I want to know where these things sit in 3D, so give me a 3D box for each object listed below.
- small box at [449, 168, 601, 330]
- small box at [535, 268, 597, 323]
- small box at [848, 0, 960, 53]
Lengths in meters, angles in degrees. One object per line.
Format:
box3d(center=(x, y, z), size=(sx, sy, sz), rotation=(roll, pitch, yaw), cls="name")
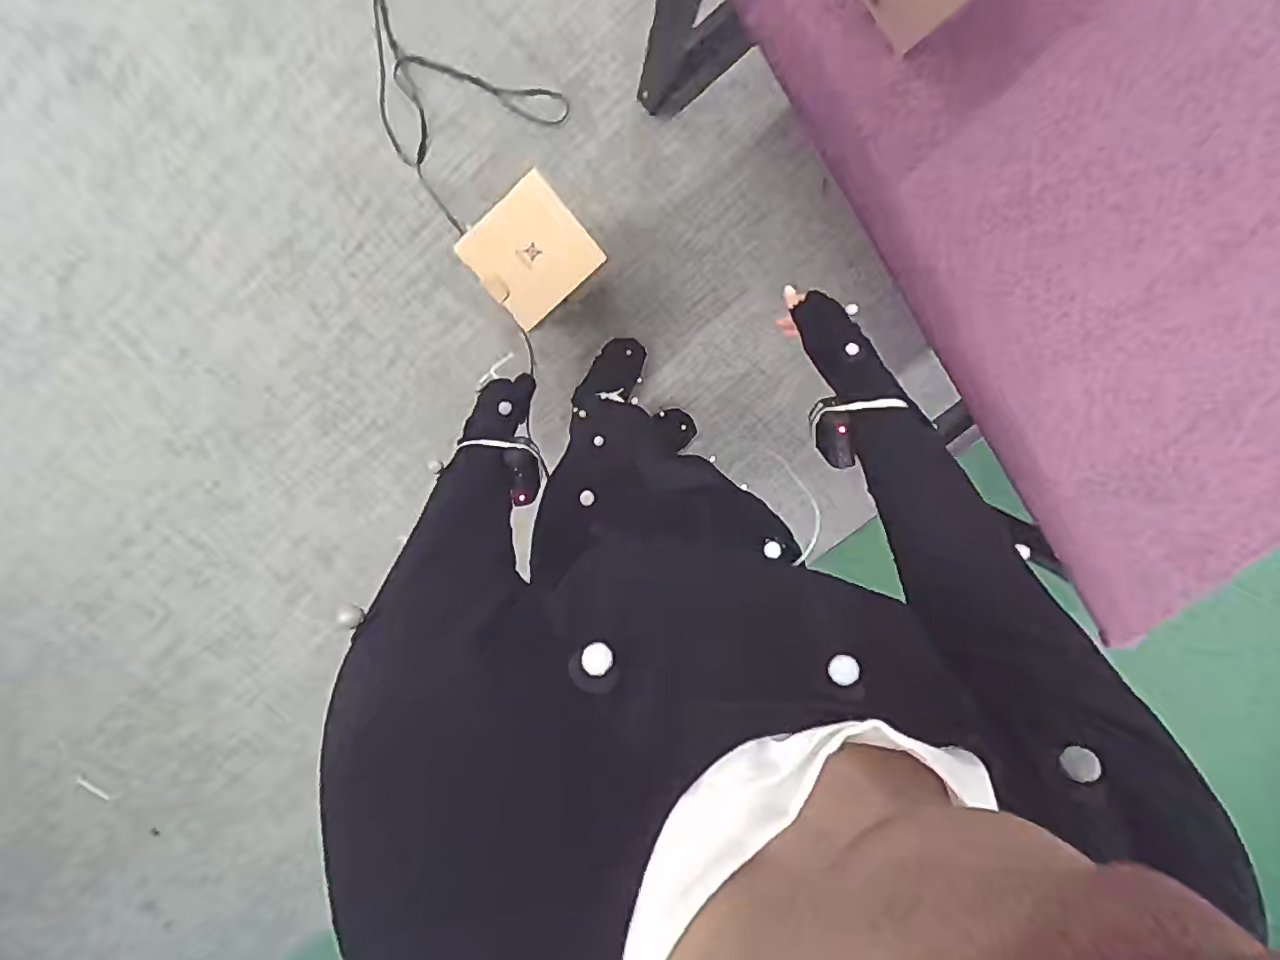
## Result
box3d(center=(-0.183, -0.377, 0.907), size=(0.179, 0.176, 0.168), rotation=(-39, 107, 9), cls="small box")
box3d(center=(-0.214, -0.477, 1.218), size=(0.179, 0.176, 0.168), rotation=(-37, 107, 7), cls="small box")
box3d(center=(0.286, -0.549, 0.483), size=(0.179, 0.176, 0.168), rotation=(-43, 107, 7), cls="small box")
